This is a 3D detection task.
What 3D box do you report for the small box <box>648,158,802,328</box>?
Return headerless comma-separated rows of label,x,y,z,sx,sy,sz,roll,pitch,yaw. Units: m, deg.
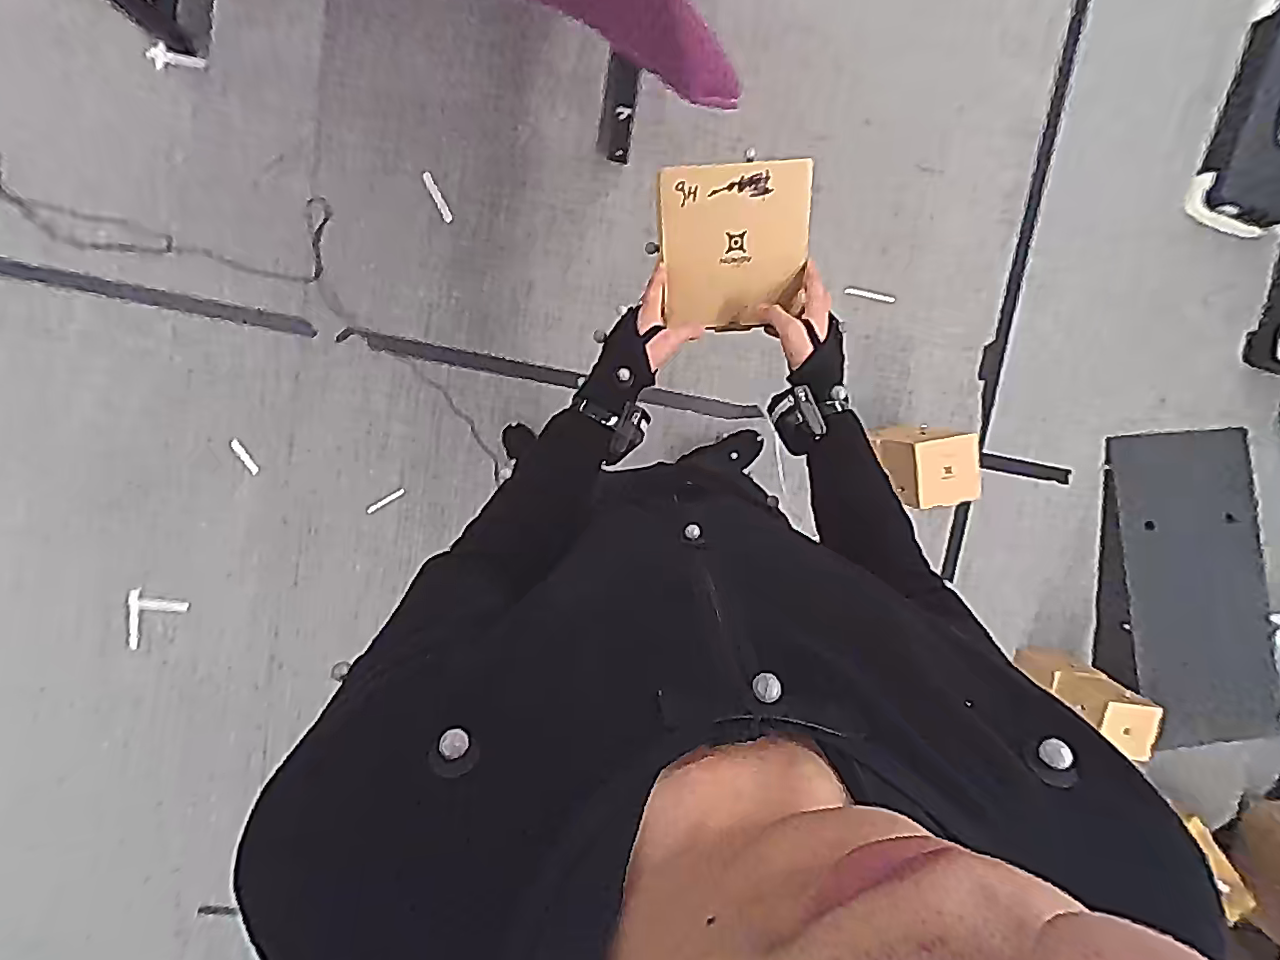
small box,0.096,-0.302,0.687,0.168,0.176,0.179,-3,117,0
